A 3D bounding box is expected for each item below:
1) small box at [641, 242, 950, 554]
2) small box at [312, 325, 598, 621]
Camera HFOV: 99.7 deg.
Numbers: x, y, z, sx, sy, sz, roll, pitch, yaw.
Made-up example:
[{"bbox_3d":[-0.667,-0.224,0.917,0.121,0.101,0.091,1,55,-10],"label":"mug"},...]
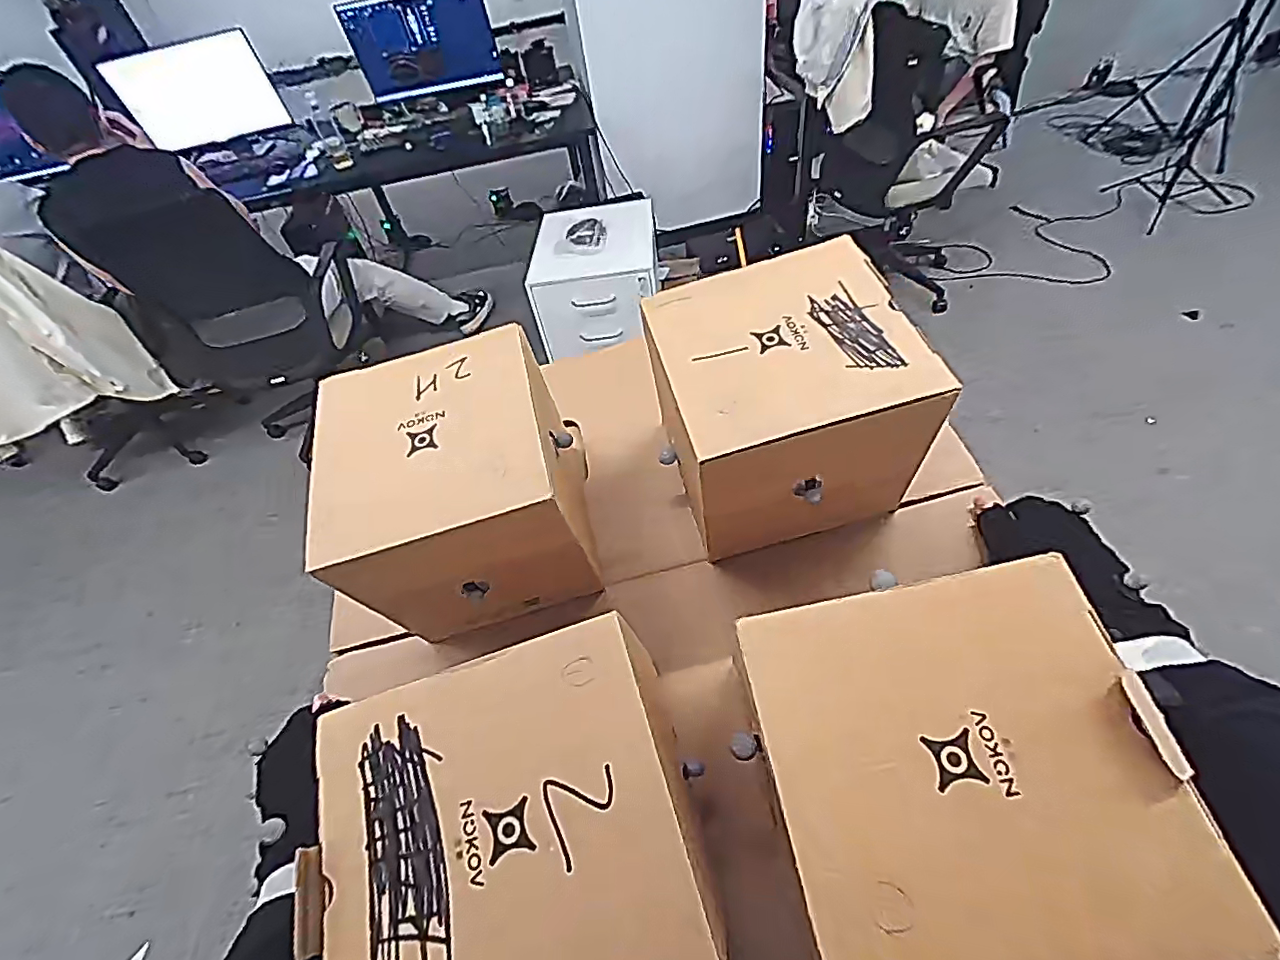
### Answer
[{"bbox_3d":[0.112,-0.058,0.455,0.179,0.176,0.168,-16,58,2],"label":"small box"},{"bbox_3d":[-0.142,0.007,0.462,0.168,0.176,0.179,-16,57,0],"label":"small box"}]
